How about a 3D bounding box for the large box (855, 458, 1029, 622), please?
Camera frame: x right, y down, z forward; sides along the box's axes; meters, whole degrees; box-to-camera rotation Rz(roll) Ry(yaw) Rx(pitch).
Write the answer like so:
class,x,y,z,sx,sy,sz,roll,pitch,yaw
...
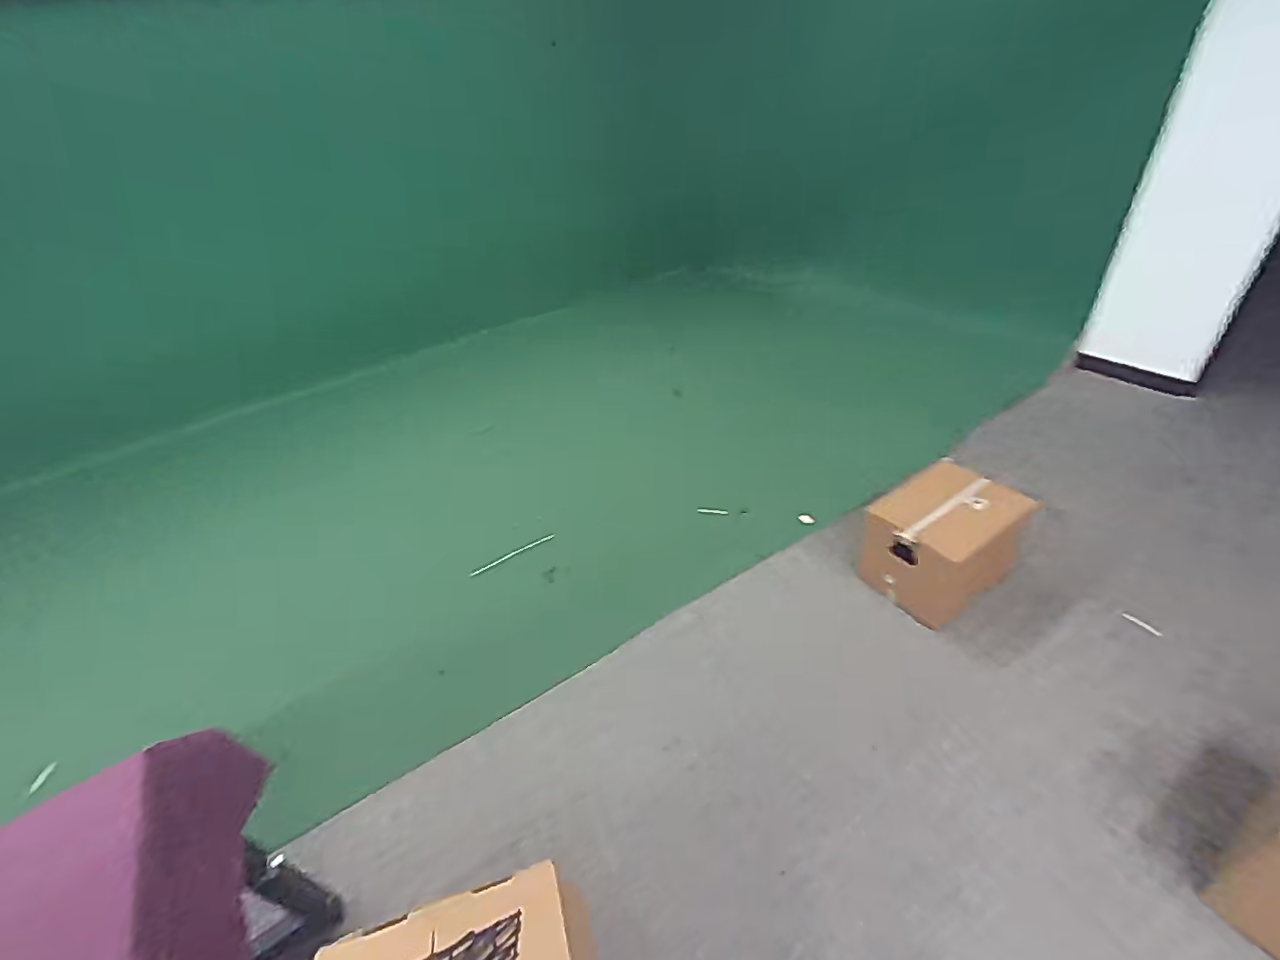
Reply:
class,x,y,z,sx,sy,sz,roll,pitch,yaw
large box,0.977,0.189,1.787,0.408,0.320,0.320,-26,40,-21
